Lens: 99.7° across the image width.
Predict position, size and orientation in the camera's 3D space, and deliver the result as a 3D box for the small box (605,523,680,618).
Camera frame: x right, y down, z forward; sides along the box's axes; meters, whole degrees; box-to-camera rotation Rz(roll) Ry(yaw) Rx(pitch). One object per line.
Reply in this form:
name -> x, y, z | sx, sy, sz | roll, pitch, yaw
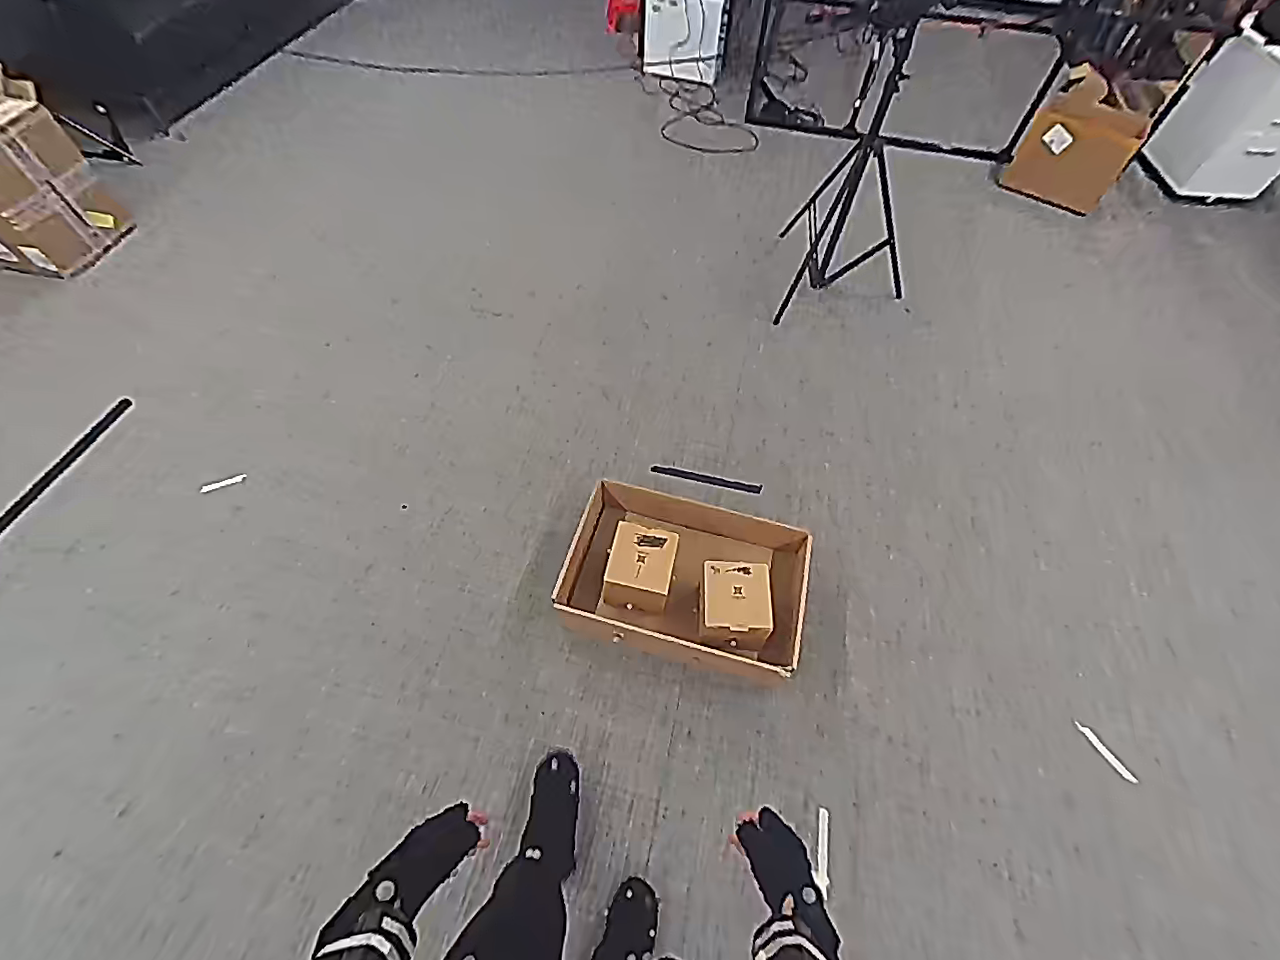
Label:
small box -> 0.003, 0.245, 1.446 | 0.168, 0.176, 0.179 | 12, 57, 4
